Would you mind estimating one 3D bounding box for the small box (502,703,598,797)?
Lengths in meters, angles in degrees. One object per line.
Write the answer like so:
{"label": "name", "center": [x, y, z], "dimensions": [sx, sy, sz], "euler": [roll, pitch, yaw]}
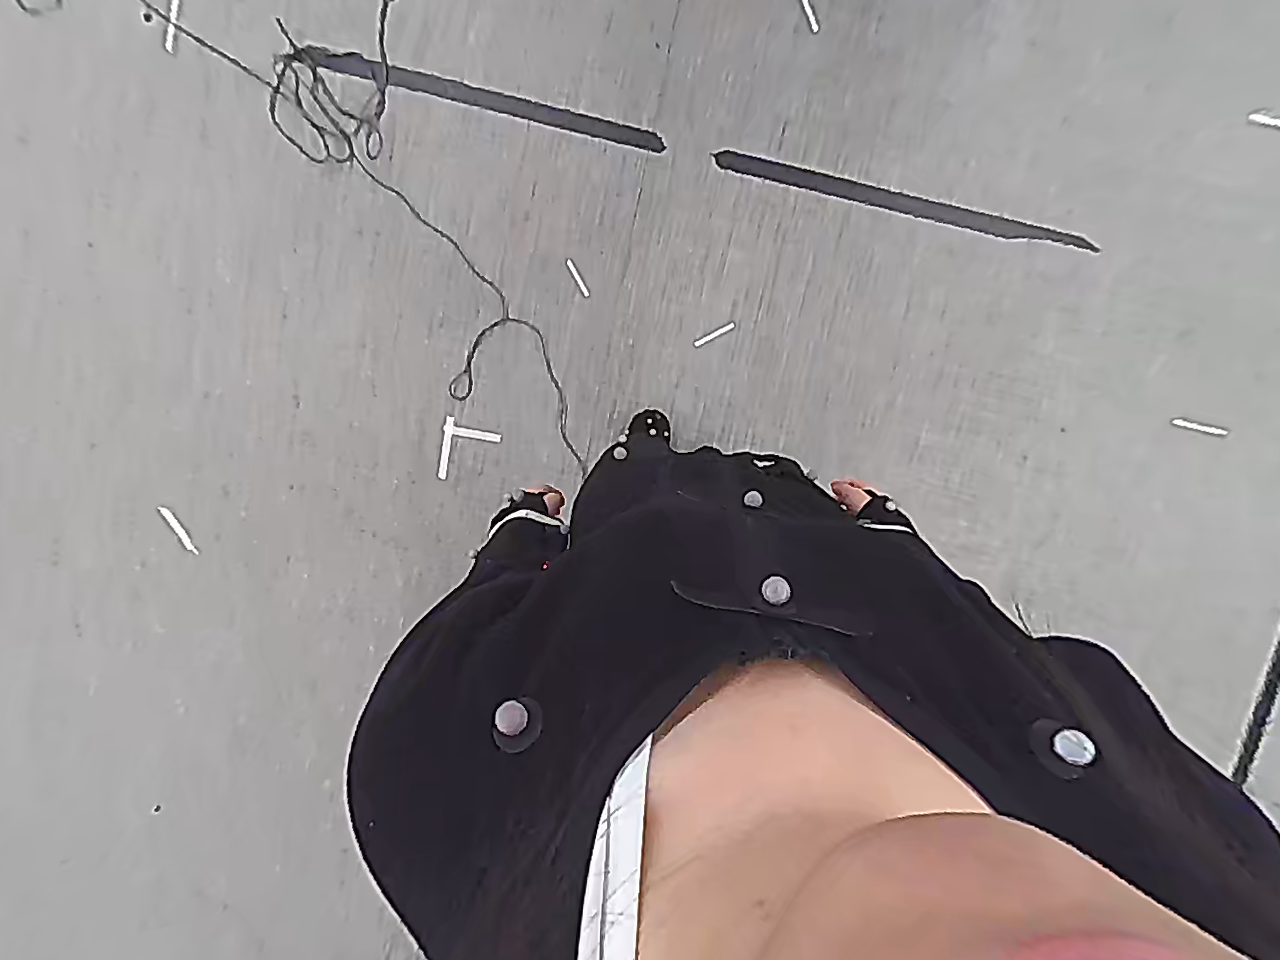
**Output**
{"label": "small box", "center": [-0.178, 0.542, 0.989], "dimensions": [0.168, 0.176, 0.179], "euler": [17, 94, -1]}
